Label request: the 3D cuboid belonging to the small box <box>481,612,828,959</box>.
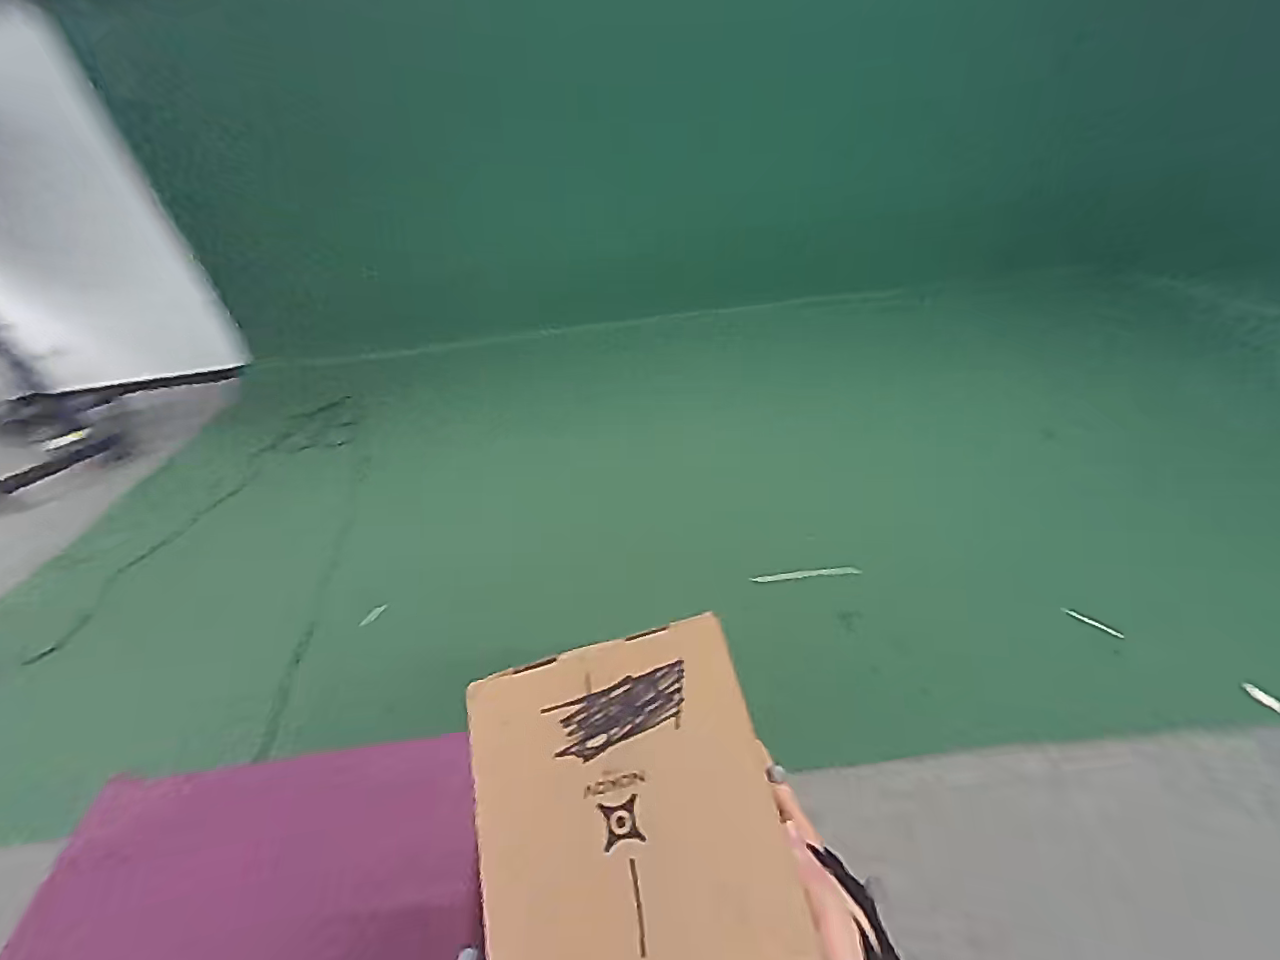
[{"bbox_3d":[0.007,0.213,0.368,0.168,0.176,0.179,-16,61,3],"label":"small box"}]
